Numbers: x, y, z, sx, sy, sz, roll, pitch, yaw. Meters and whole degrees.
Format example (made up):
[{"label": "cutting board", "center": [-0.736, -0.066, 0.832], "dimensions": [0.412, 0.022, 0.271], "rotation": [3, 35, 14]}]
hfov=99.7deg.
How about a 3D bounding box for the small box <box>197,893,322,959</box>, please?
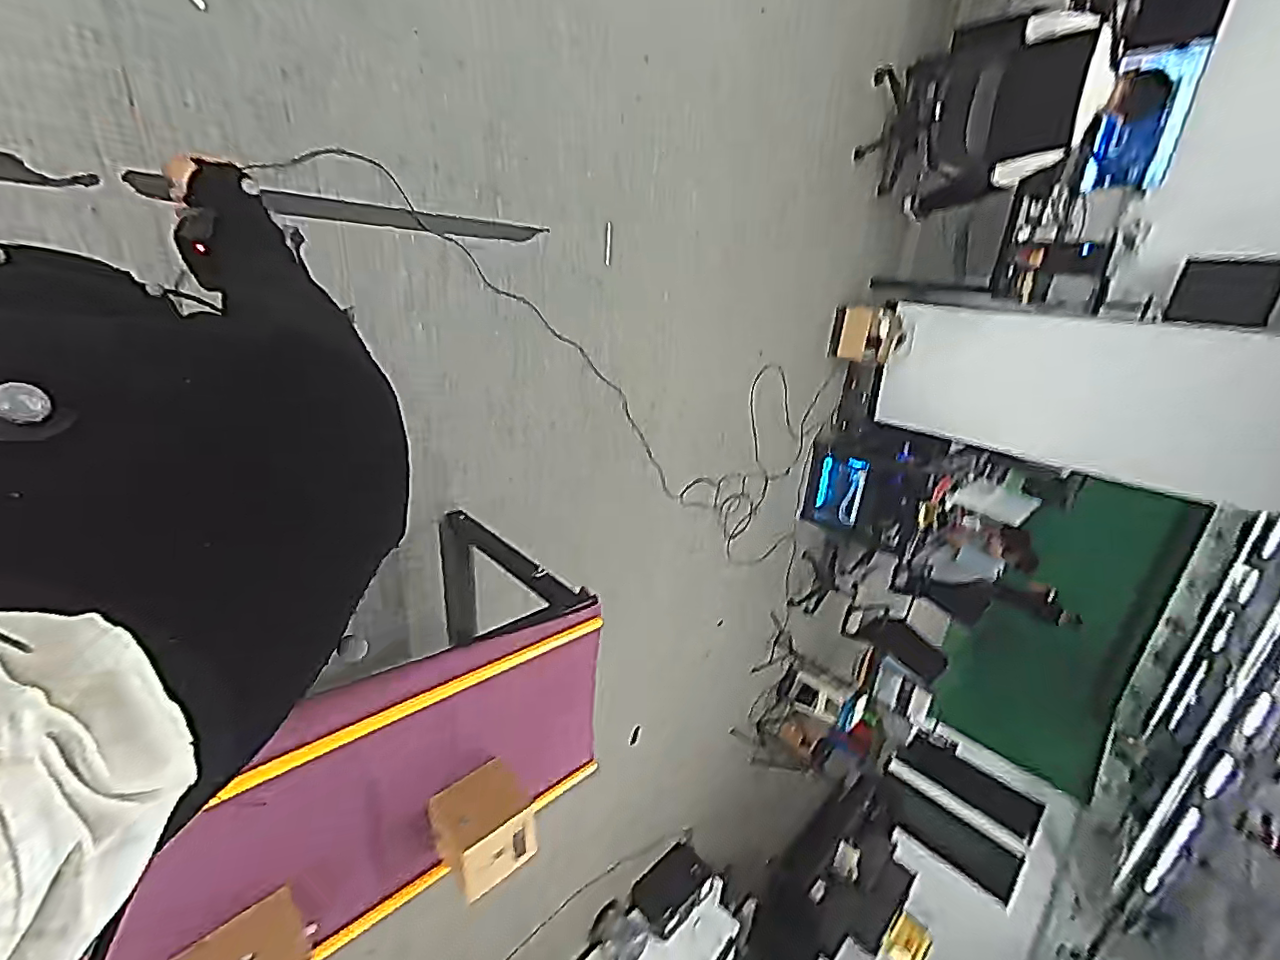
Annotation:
[{"label": "small box", "center": [-0.664, 0.897, 0.950], "dimensions": [0.179, 0.176, 0.168], "rotation": [-20, 120, -41]}]
